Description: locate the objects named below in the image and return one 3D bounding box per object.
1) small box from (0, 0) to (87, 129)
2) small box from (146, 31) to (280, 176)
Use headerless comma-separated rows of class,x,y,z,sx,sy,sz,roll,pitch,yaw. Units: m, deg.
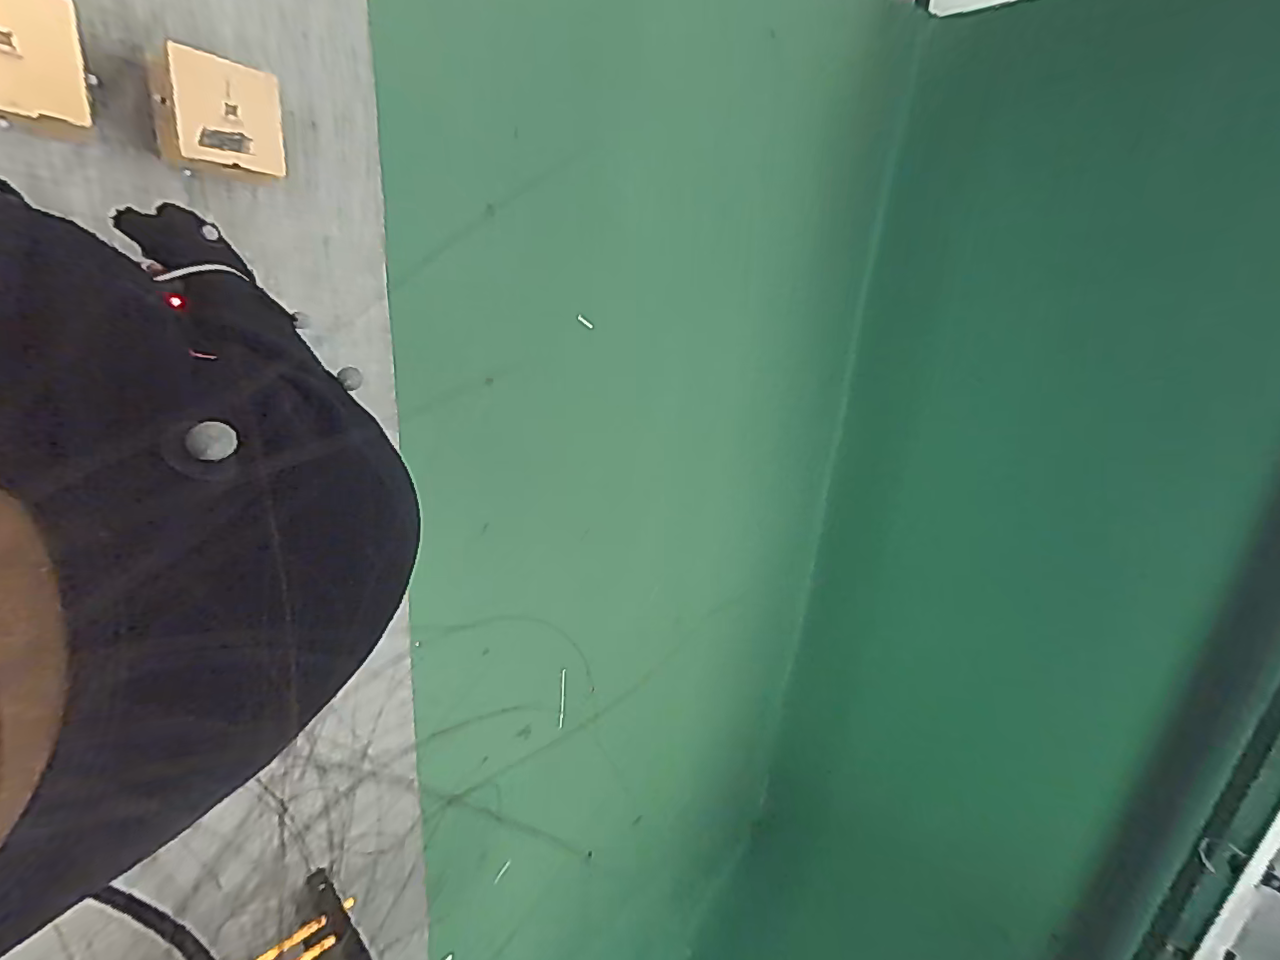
small box,-0.986,-0.669,0.828,0.168,0.176,0.179,-12,115,-48
small box,-0.809,-0.696,1.028,0.168,0.176,0.179,-12,114,-47
